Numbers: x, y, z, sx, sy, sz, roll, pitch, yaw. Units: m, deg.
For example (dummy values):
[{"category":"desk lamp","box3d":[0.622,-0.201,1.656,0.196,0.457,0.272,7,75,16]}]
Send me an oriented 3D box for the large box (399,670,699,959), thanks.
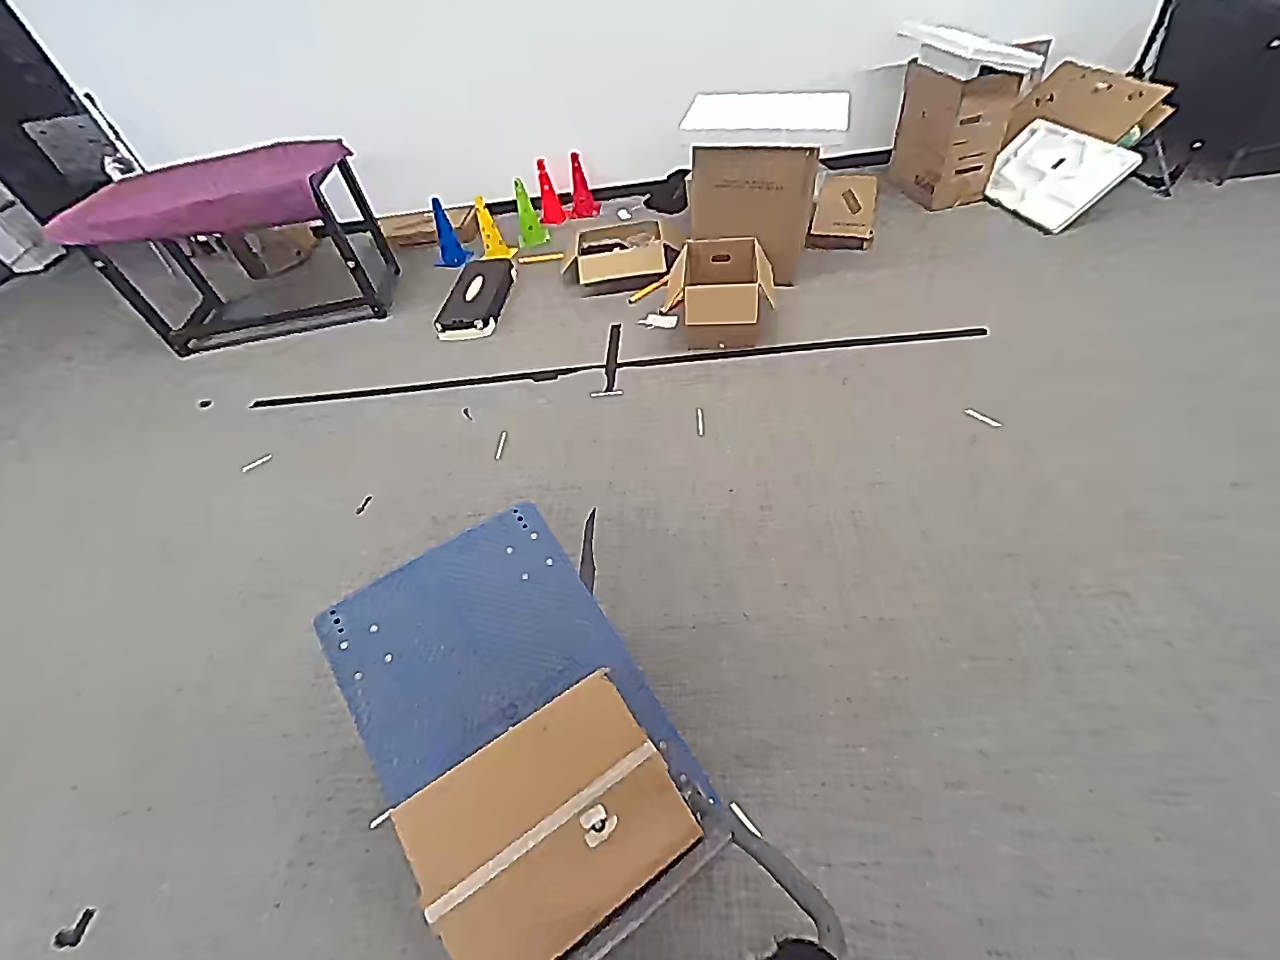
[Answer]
[{"category":"large box","box3d":[-0.158,0.627,1.018,0.408,0.320,0.320,-31,72,-19]}]
